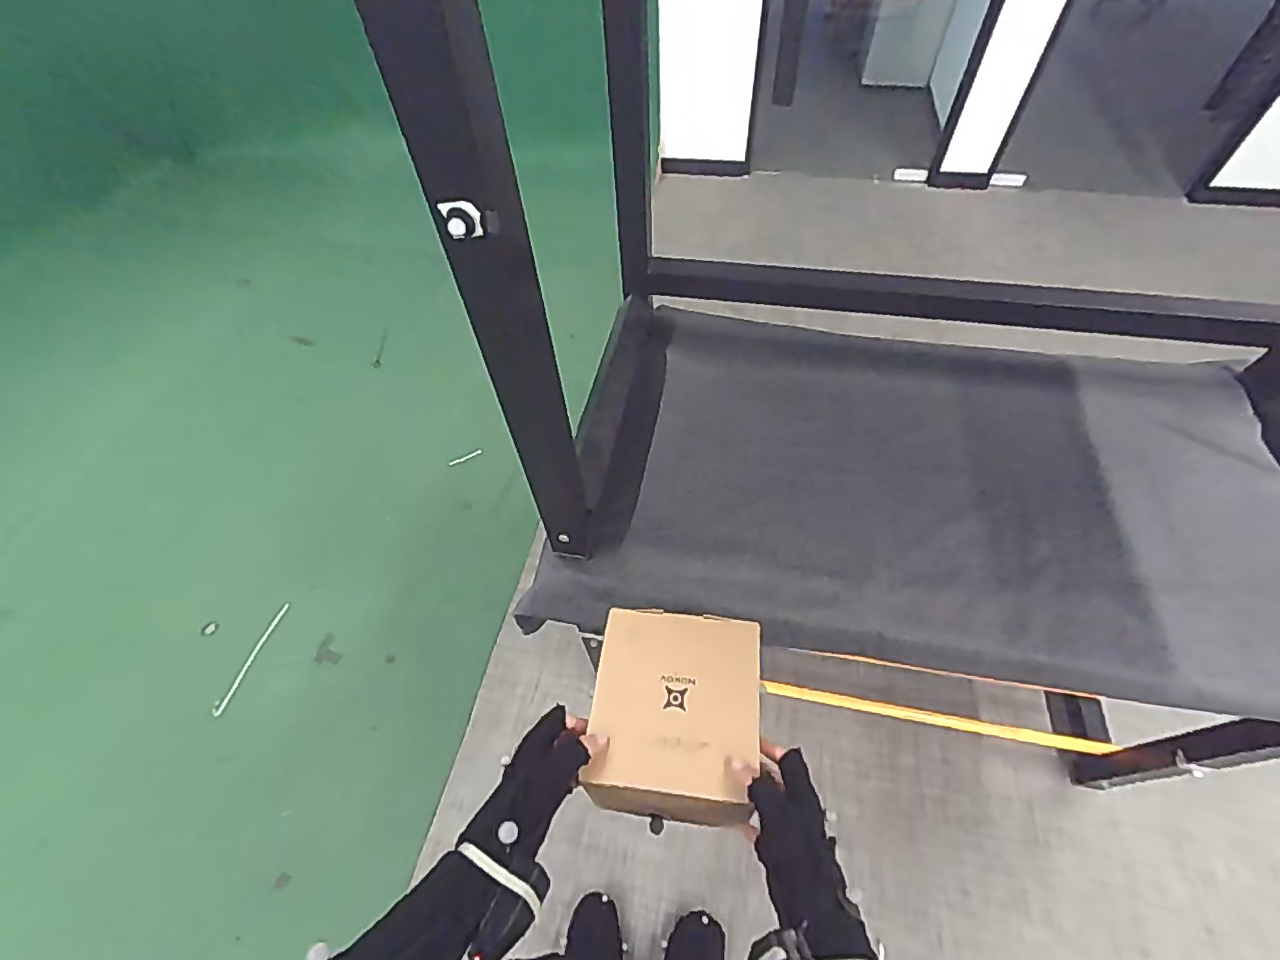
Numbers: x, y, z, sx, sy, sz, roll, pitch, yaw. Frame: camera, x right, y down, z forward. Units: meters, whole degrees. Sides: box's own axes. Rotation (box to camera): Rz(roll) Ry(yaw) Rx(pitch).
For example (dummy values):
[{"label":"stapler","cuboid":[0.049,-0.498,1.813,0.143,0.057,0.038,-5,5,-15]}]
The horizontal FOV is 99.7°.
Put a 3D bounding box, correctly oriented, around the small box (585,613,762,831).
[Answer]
[{"label":"small box","cuboid":[0.044,0.272,0.607,0.168,0.176,0.179,3,51,8]}]
